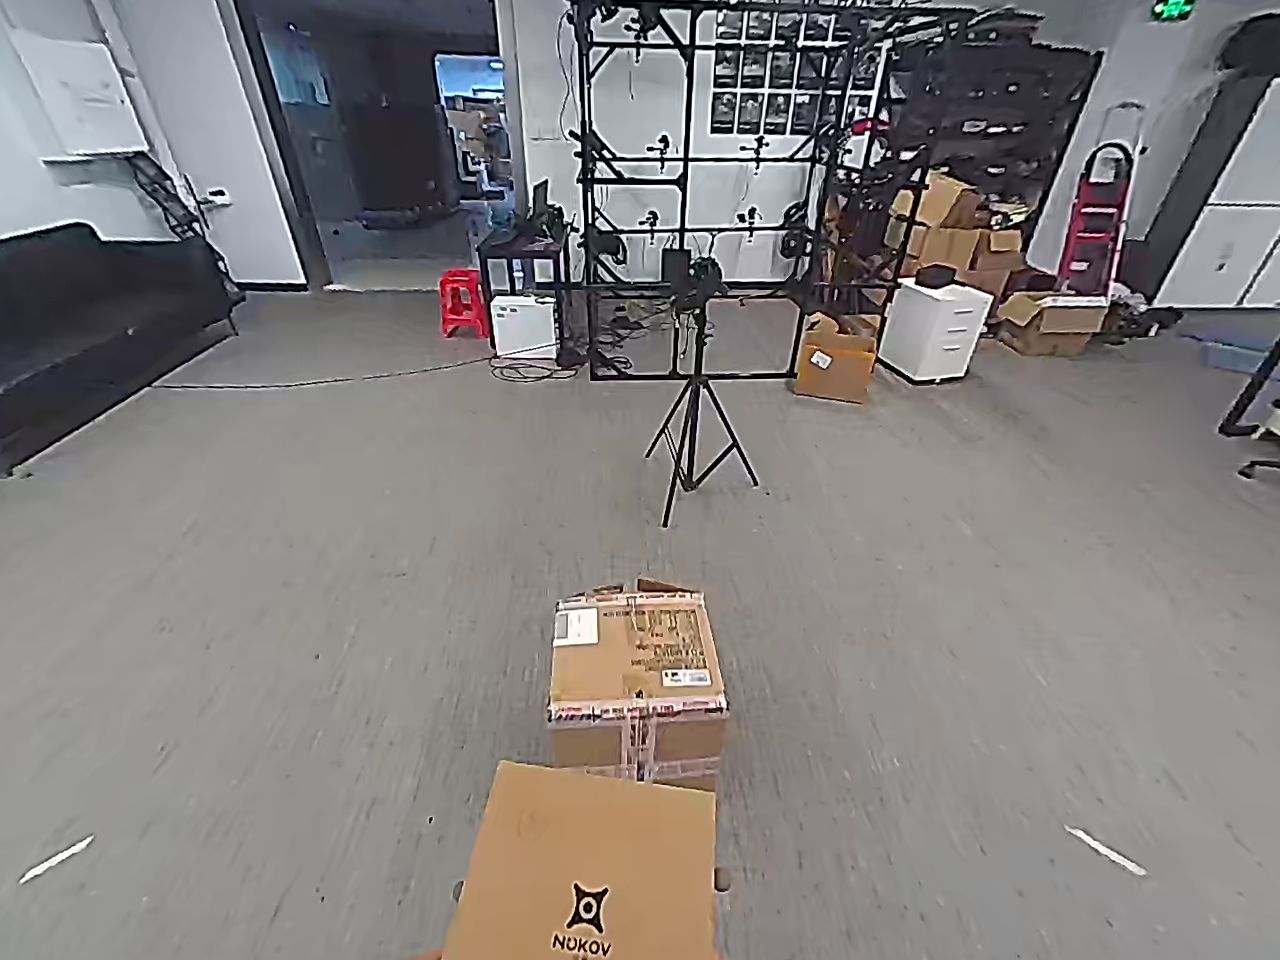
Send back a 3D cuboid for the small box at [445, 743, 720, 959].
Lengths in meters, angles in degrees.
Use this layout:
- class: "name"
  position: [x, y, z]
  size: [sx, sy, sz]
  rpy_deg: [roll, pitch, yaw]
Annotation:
- class: "small box"
  position: [-0.036, 0.329, 0.405]
  size: [0.168, 0.176, 0.179]
  rpy_deg: [7, 45, 3]
